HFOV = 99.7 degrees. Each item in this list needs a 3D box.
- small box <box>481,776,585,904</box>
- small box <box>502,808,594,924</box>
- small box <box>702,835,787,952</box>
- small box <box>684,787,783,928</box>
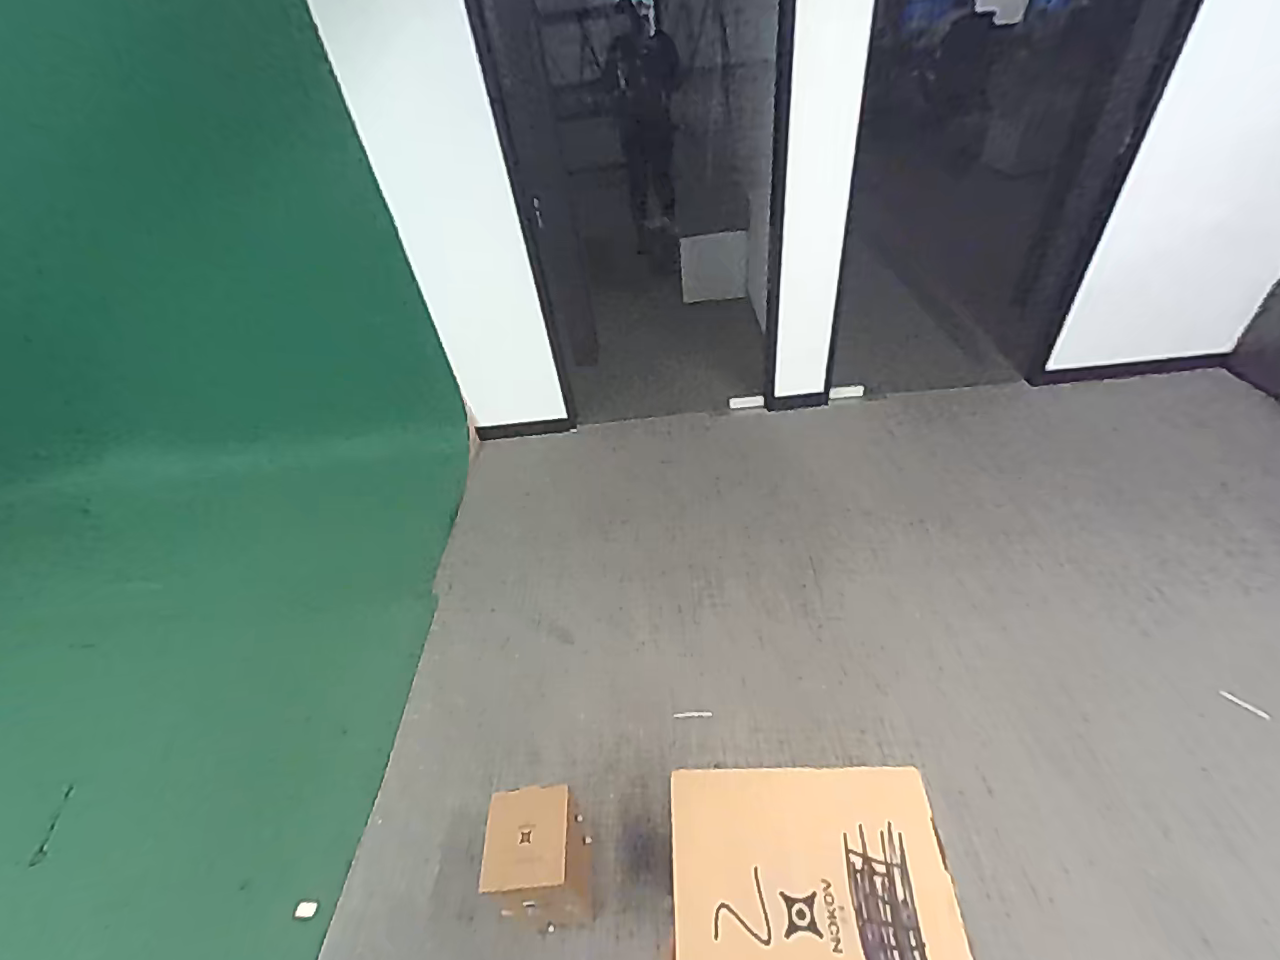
[{"bbox_3d":[-0.212,0.744,1.117,0.168,0.176,0.179,-8,42,2],"label":"small box"},{"bbox_3d":[-0.200,0.869,1.220,0.168,0.176,0.179,-7,41,1],"label":"small box"},{"bbox_3d":[0.223,0.867,1.152,0.168,0.176,0.179,2,43,12],"label":"small box"},{"bbox_3d":[0.187,0.739,1.055,0.168,0.176,0.179,5,44,15],"label":"small box"}]
